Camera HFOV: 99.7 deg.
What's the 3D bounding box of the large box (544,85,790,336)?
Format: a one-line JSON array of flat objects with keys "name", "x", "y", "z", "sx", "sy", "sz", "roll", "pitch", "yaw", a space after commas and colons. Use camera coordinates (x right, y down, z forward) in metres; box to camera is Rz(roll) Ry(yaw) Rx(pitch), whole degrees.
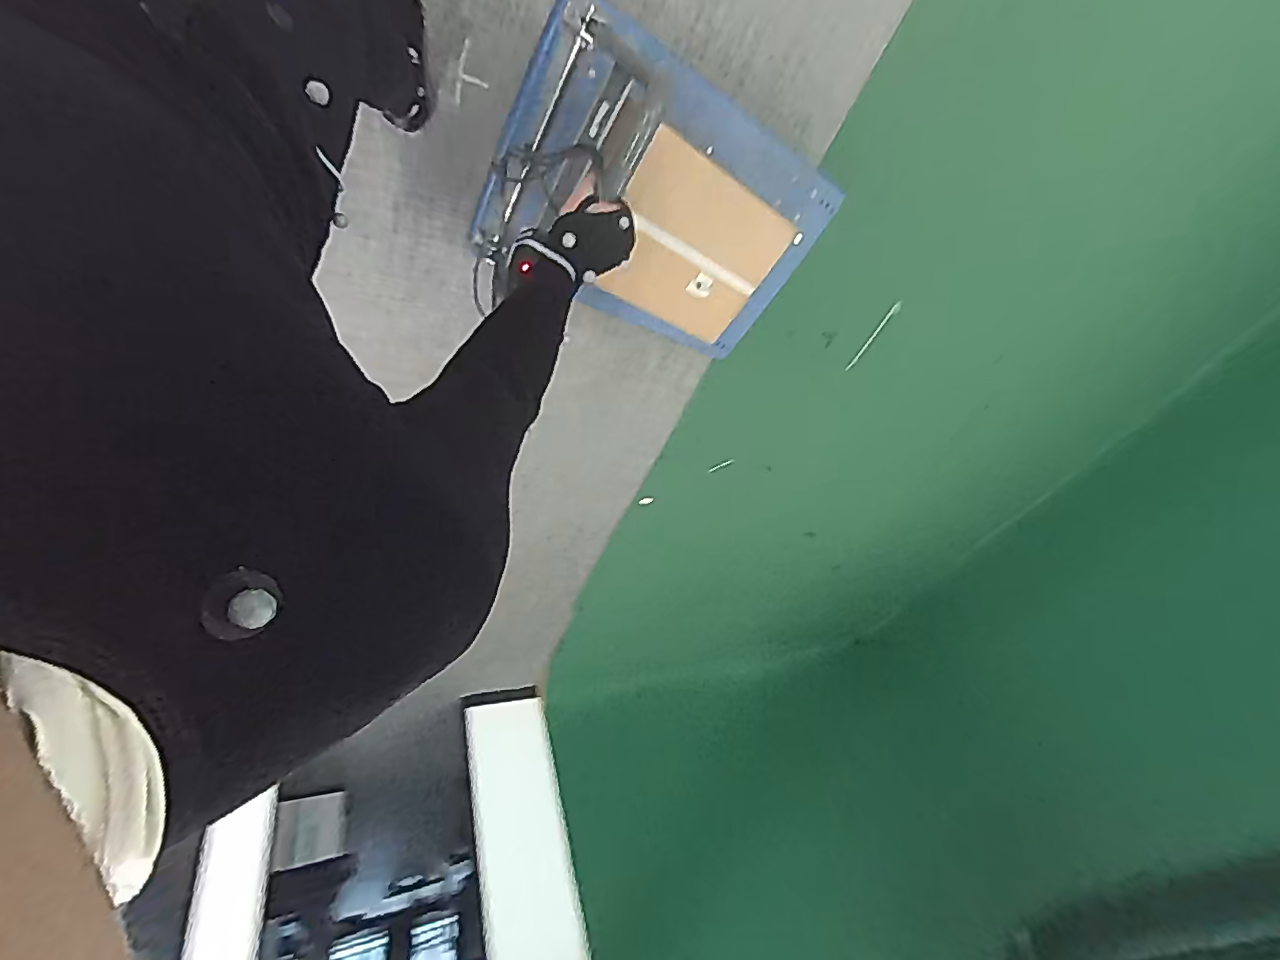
[{"name": "large box", "x": 0.047, "y": -0.597, "z": 1.232, "sx": 0.408, "sy": 0.320, "sz": 0.320, "roll": 14, "pitch": 129, "yaw": -36}]
